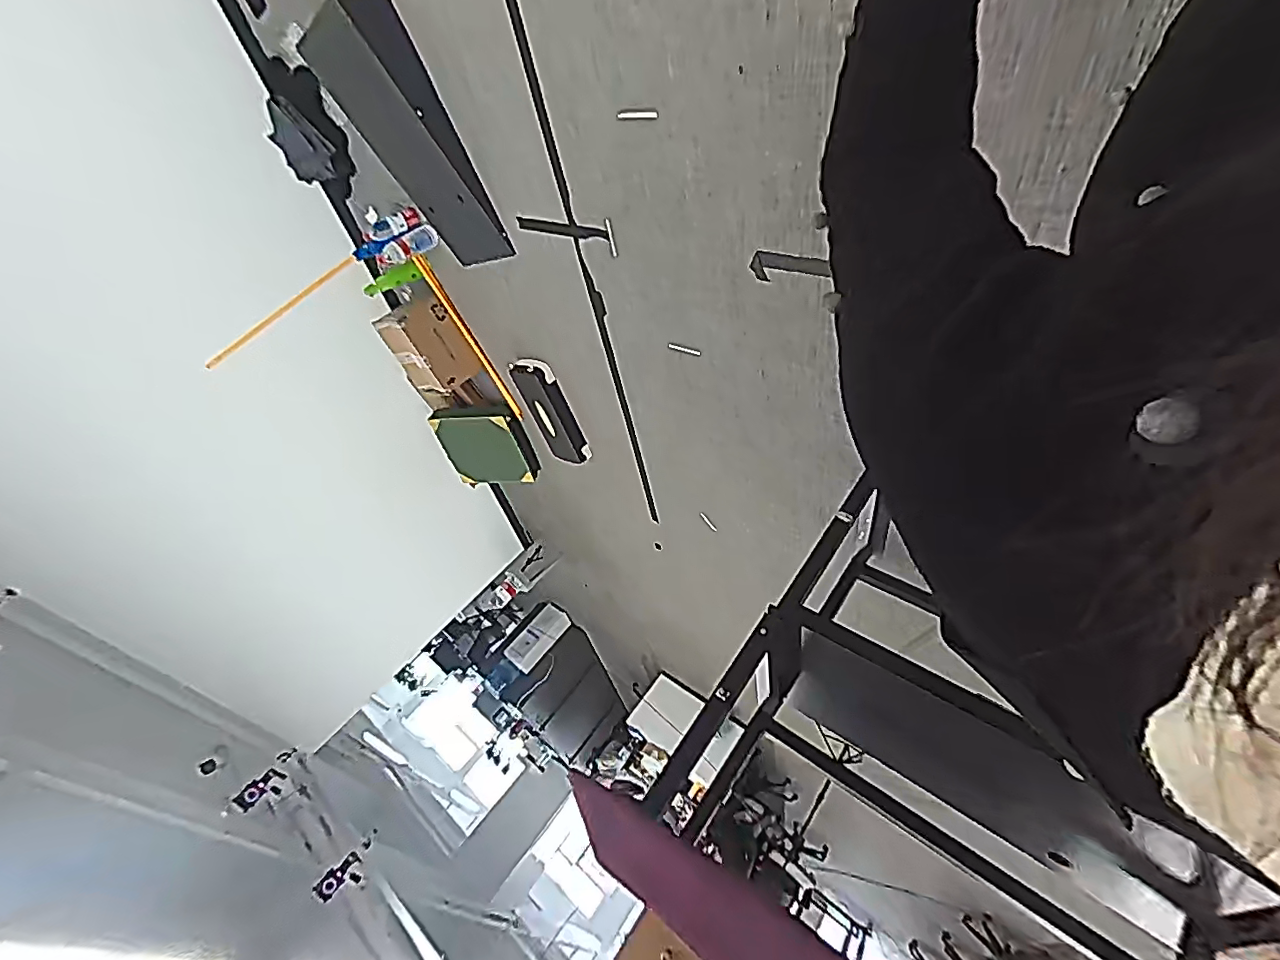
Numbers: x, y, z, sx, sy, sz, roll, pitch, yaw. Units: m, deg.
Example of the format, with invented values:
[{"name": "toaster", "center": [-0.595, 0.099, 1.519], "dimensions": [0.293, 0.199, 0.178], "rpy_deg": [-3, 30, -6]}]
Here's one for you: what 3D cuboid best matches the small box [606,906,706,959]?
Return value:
[{"name": "small box", "center": [0.032, 1.042, 1.142], "dimensions": [0.179, 0.176, 0.168], "rpy_deg": [27, 149, 29]}]
